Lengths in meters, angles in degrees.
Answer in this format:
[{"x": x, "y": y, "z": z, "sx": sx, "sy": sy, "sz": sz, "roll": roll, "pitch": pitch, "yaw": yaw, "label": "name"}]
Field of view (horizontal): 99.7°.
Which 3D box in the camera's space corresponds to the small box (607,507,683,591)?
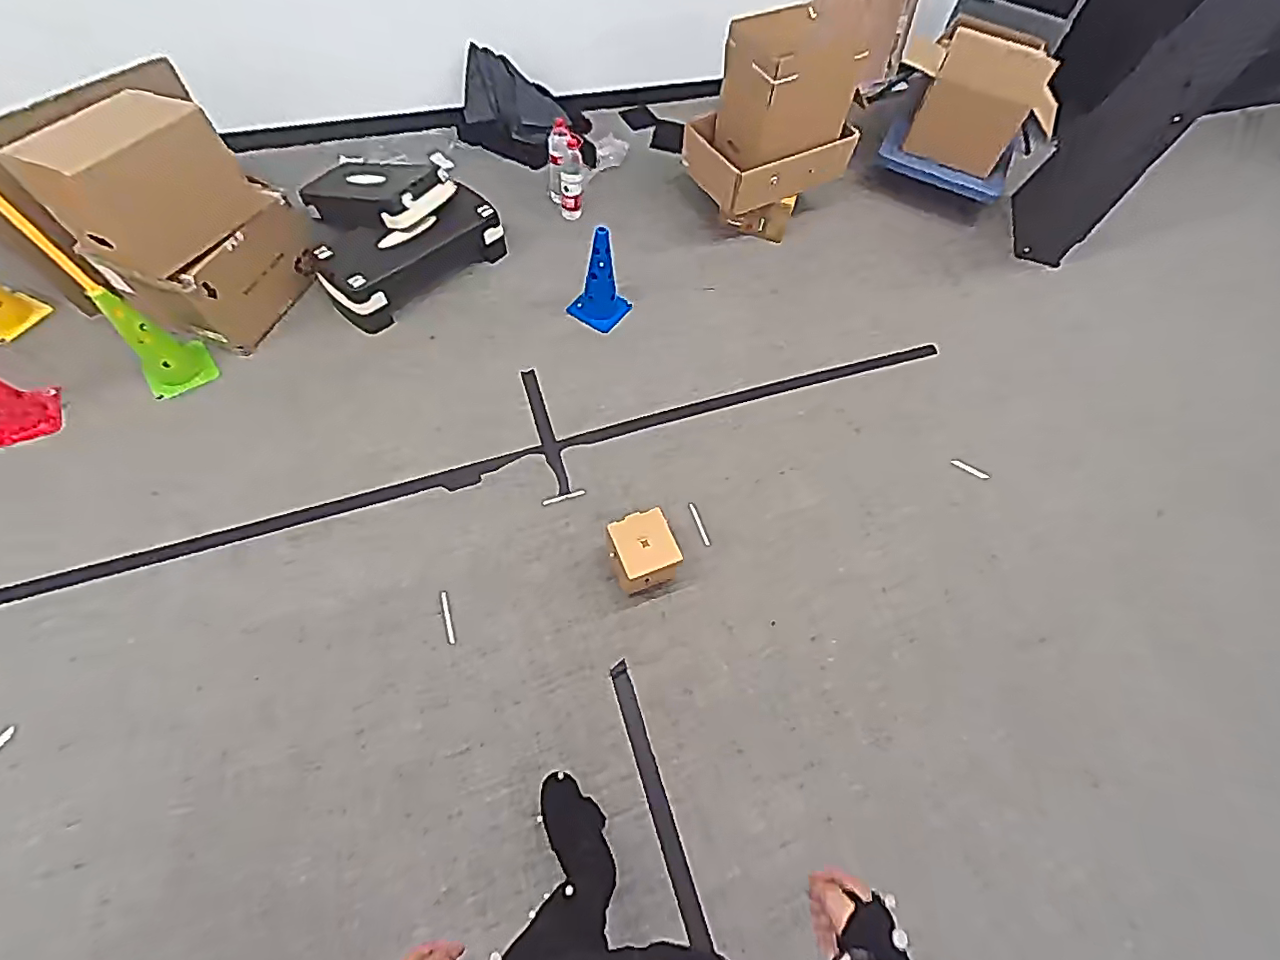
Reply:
[{"x": 0.008, "y": 0.211, "z": 1.580, "sx": 0.168, "sy": 0.176, "sz": 0.179, "roll": -18, "pitch": 65, "yaw": -15, "label": "small box"}]
